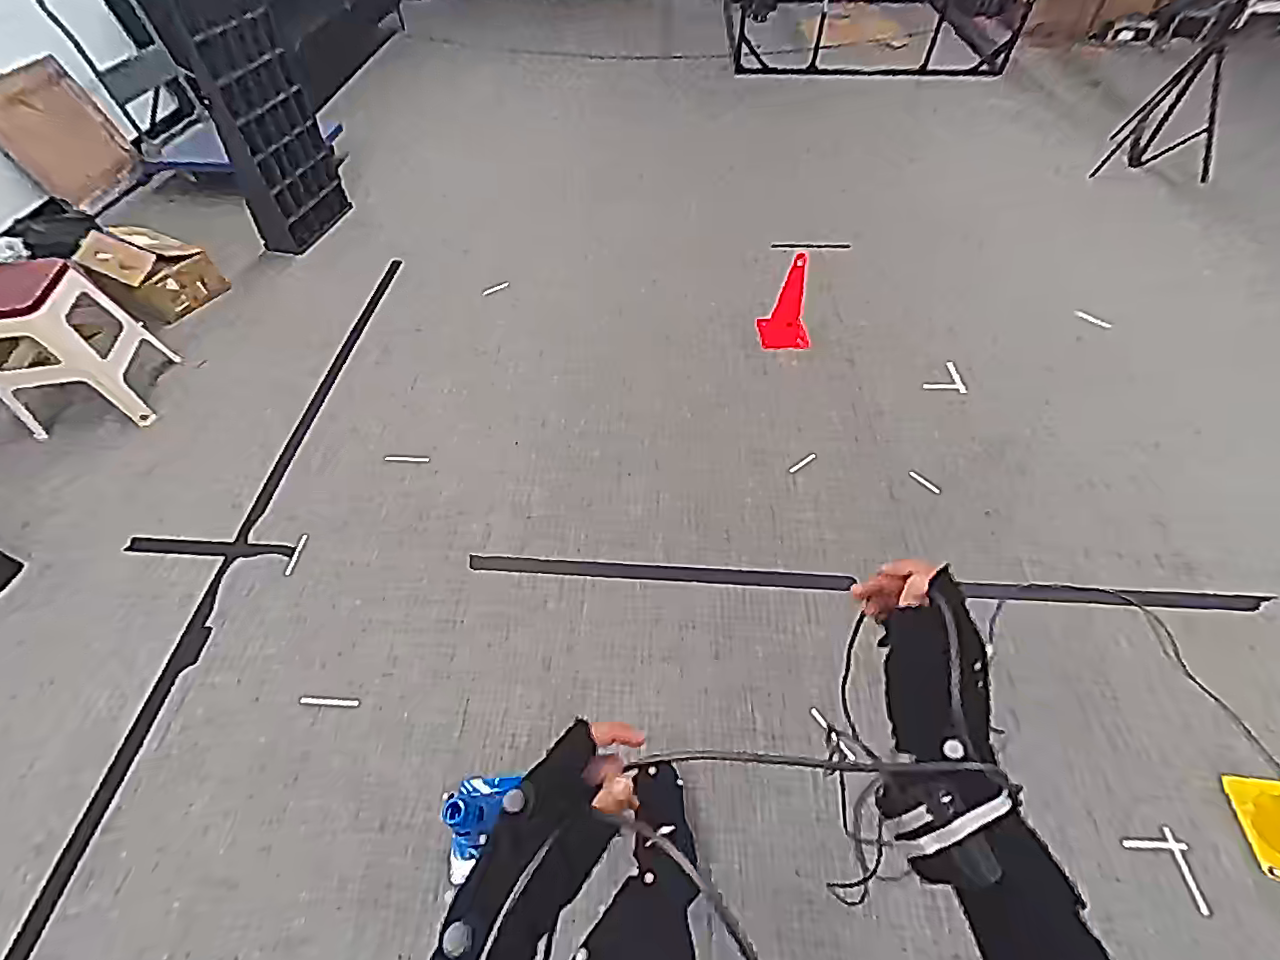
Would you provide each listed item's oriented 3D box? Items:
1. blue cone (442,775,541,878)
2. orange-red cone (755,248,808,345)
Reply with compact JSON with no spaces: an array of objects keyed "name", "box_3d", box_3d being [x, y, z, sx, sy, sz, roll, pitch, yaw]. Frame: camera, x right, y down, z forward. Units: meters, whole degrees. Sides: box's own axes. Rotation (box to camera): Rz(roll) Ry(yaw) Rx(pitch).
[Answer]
[{"name":"blue cone","box_3d":[-0.320,0.671,1.076,0.193,0.380,0.192,-3,53,-1]},{"name":"orange-red cone","box_3d":[0.580,-0.728,2.108,0.199,0.360,0.198,-3,52,1]}]
